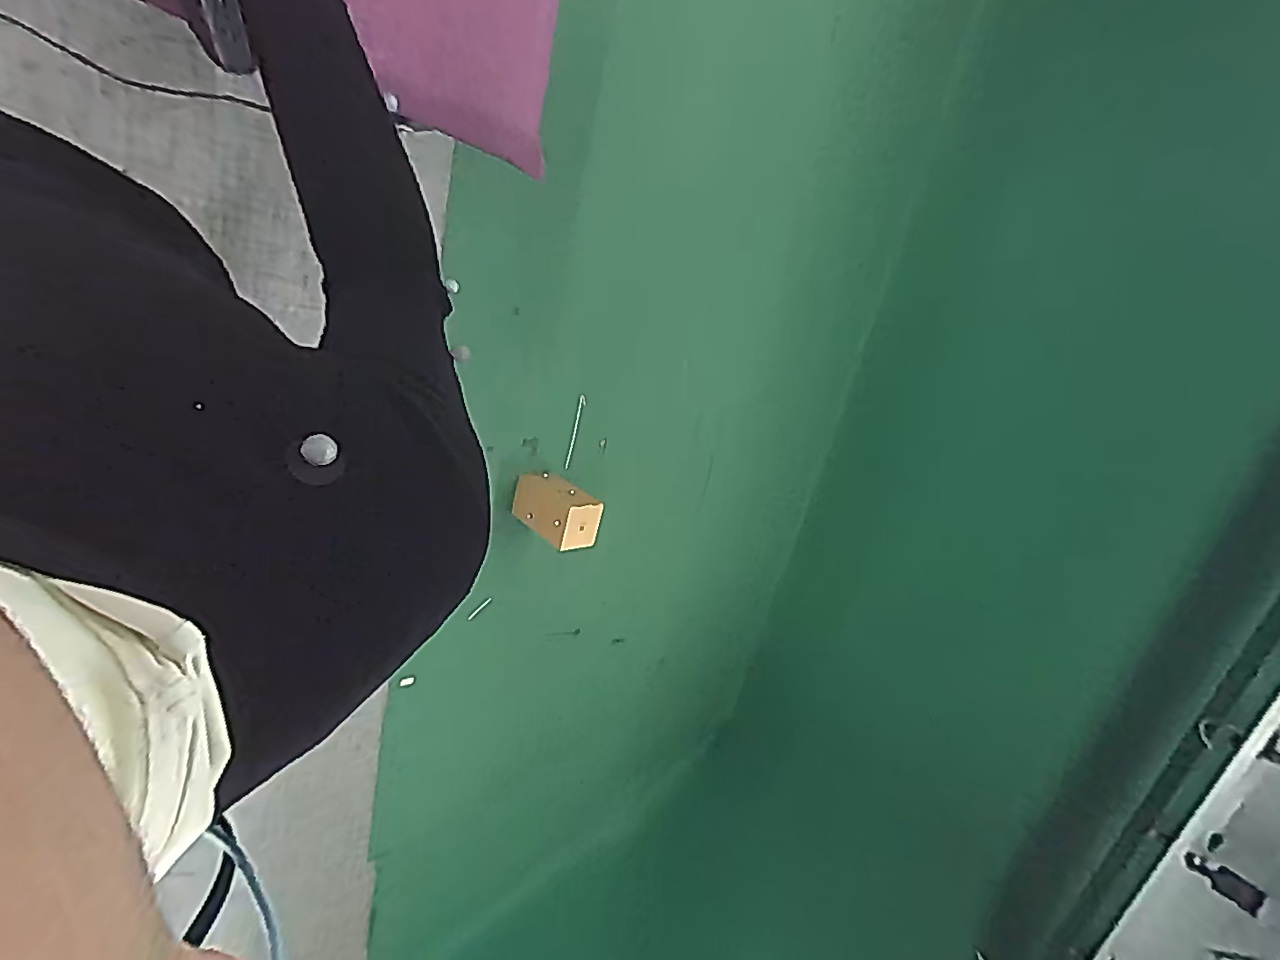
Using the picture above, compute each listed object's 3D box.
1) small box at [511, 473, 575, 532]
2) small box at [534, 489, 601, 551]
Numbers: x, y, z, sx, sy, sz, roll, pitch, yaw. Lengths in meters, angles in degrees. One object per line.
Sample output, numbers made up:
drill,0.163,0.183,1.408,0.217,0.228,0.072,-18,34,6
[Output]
small box,-0.389,0.086,2.134,0.168,0.176,0.179,-2,113,-48
small box,-0.278,0.147,2.032,0.168,0.176,0.179,-3,113,-47
